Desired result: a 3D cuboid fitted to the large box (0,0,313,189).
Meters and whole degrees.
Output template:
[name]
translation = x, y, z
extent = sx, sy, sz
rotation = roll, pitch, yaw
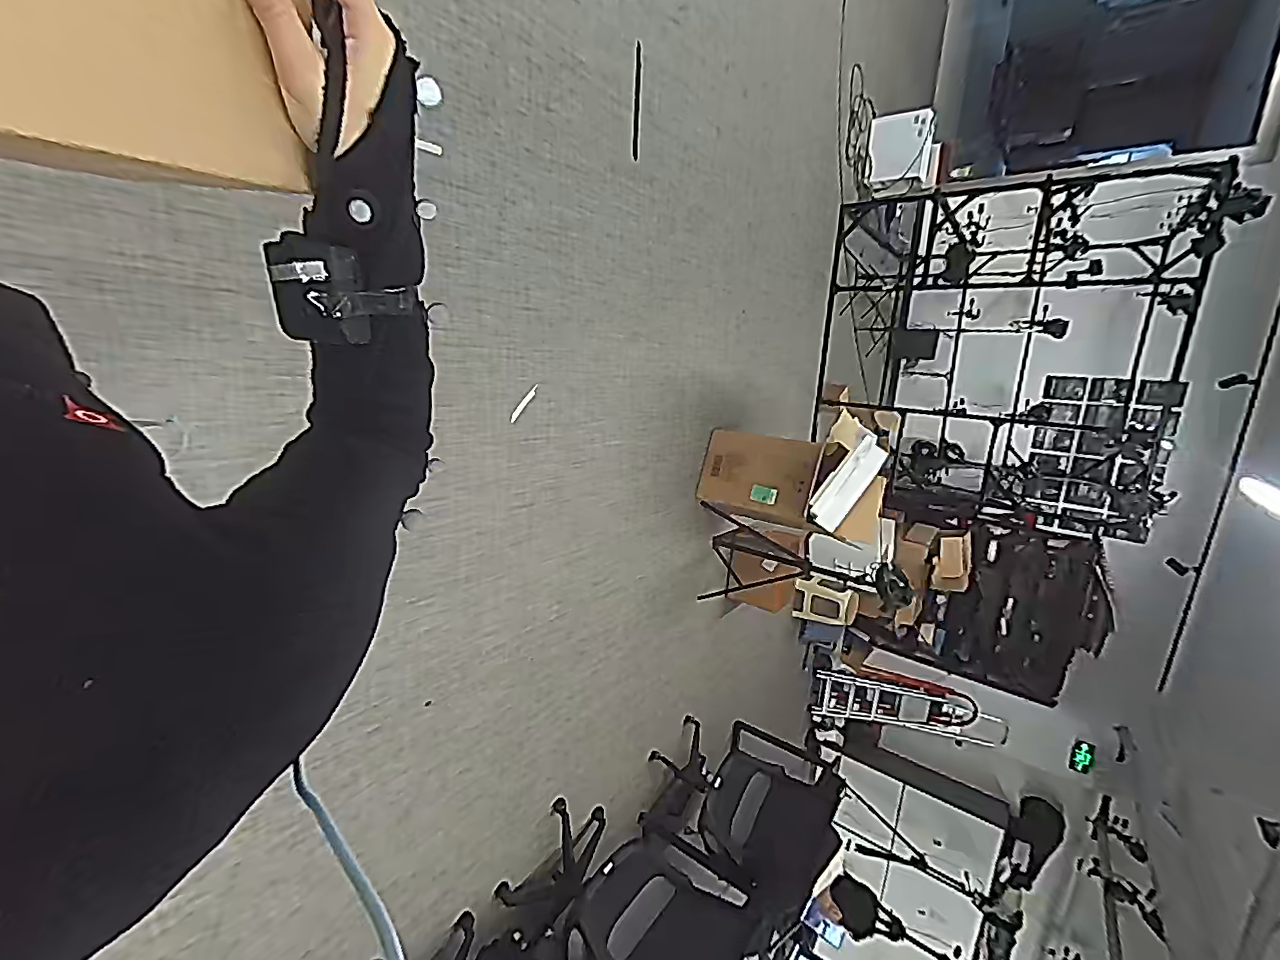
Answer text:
[large box]
translation = -0.416, -0.320, 0.198
extent = 0.408, 0.320, 0.320
rotation = -20, 126, -53
